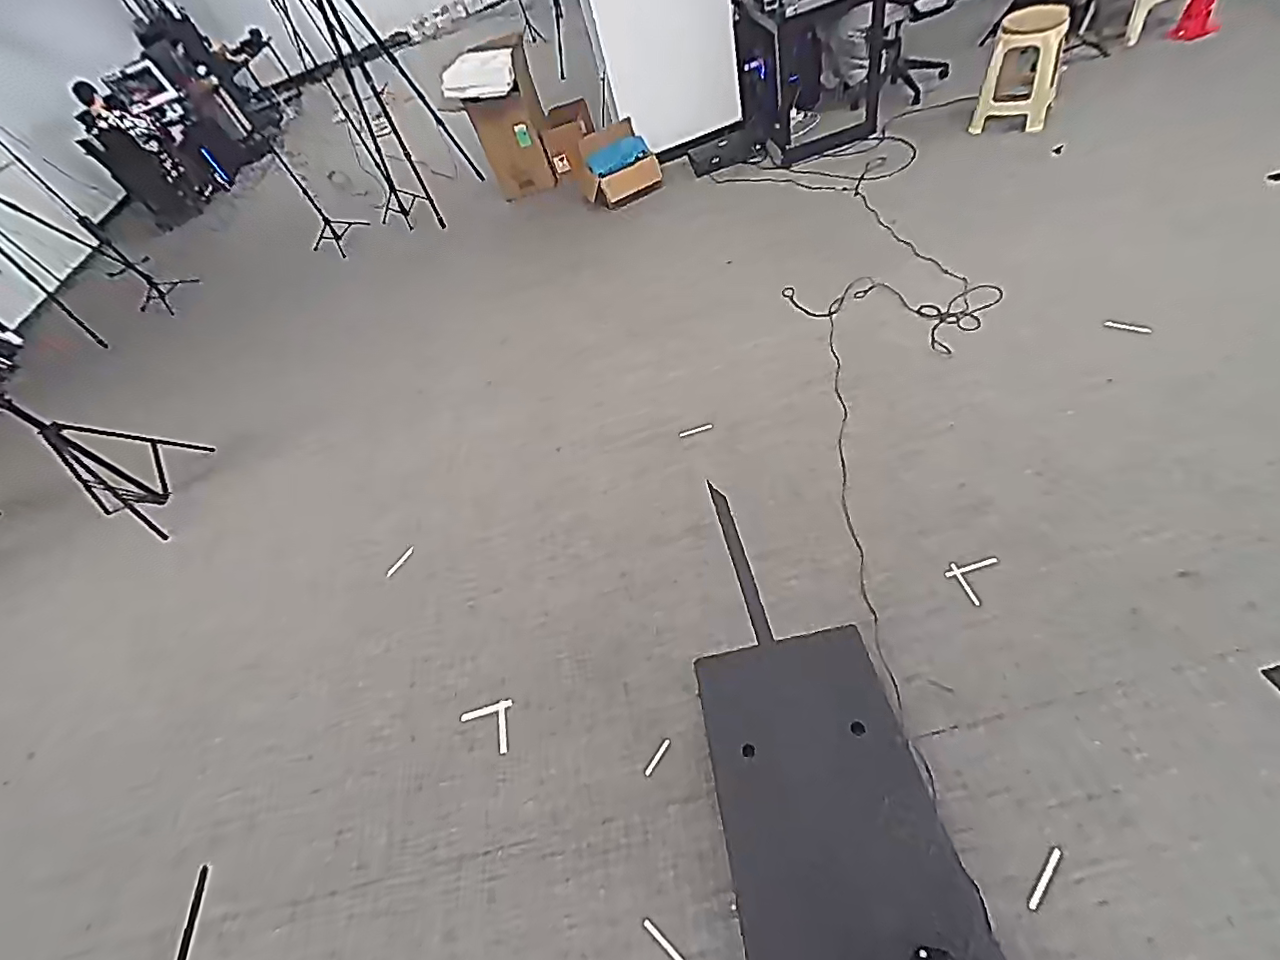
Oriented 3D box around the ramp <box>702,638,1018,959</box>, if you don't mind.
[{"bbox_3d":[0.463,0.843,1.232,0.509,0.206,0.991,-19,48,6],"label":"ramp"}]
